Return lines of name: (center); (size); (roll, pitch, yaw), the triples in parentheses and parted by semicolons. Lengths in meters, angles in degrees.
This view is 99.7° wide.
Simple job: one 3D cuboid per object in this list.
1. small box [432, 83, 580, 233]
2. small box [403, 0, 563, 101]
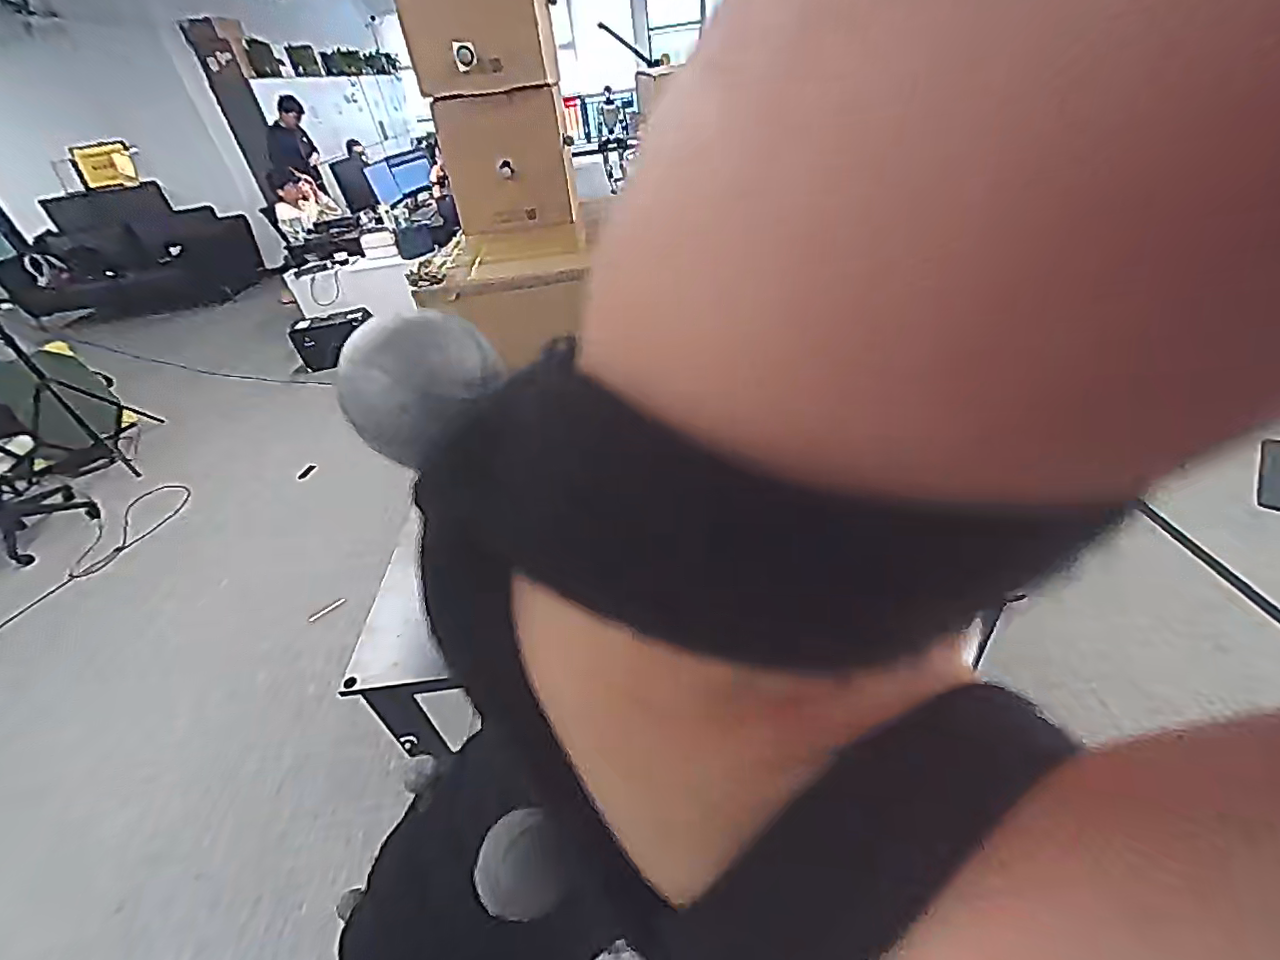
small box: (-0.185, -0.477, 0.806); (0.168, 0.176, 0.179); (-7, 38, 0)
small box: (-0.198, -0.597, 0.694); (0.168, 0.176, 0.179); (-7, 37, 3)
